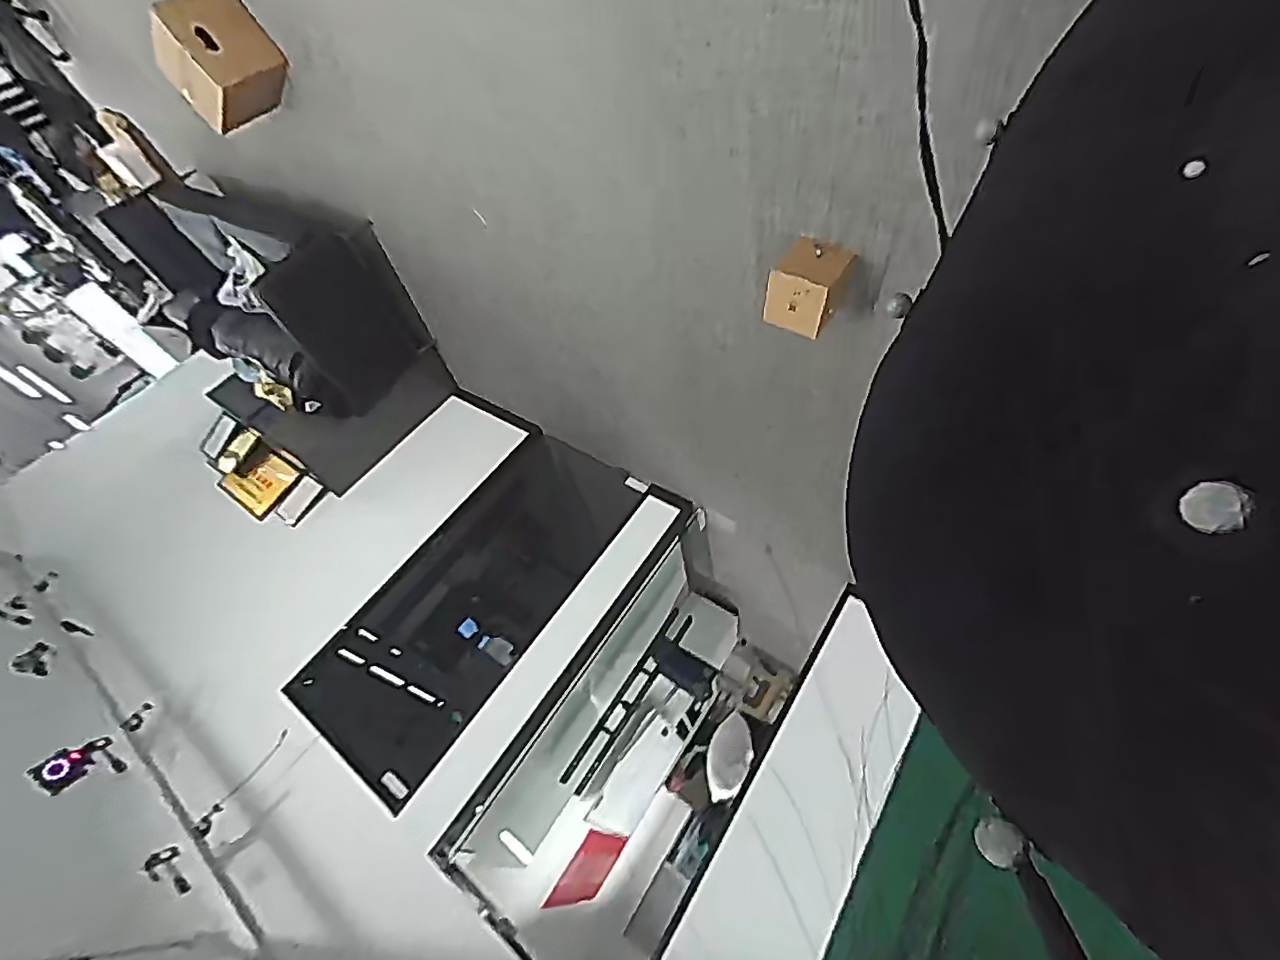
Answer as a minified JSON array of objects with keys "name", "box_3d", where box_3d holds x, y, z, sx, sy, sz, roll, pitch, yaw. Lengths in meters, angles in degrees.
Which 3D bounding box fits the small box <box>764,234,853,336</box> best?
[{"name":"small box","box_3d":[0.466,-0.540,1.499,0.168,0.176,0.179,29,154,20]}]
